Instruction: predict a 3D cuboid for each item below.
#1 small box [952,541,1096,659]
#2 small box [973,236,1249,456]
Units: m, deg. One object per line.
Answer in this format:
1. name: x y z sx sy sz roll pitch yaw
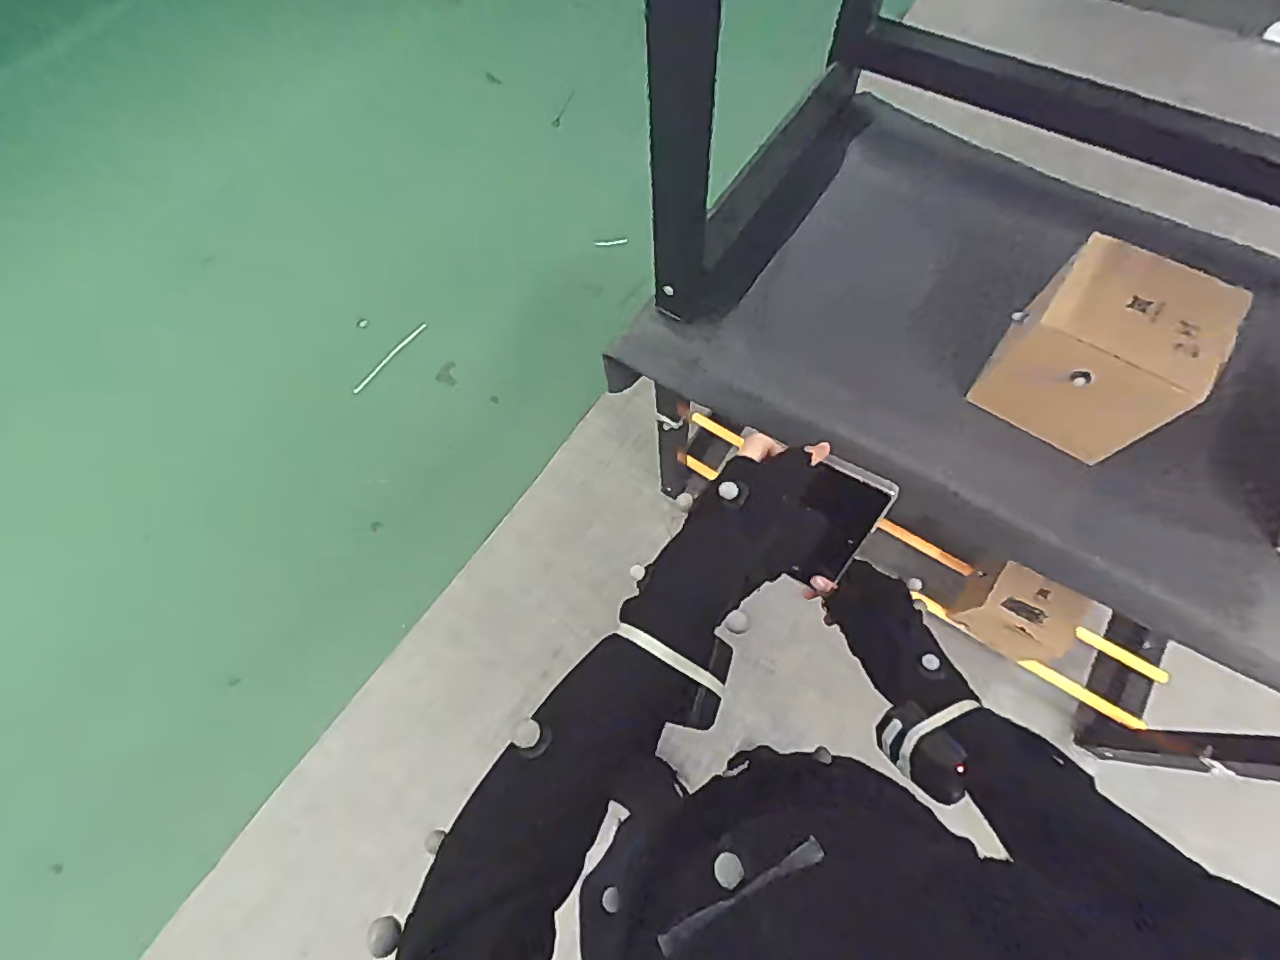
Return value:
1. small box: 0.808 0.264 1.160 0.168 0.176 0.179 35 74 16
2. small box: 0.564 -0.157 0.674 0.179 0.176 0.168 34 73 16
